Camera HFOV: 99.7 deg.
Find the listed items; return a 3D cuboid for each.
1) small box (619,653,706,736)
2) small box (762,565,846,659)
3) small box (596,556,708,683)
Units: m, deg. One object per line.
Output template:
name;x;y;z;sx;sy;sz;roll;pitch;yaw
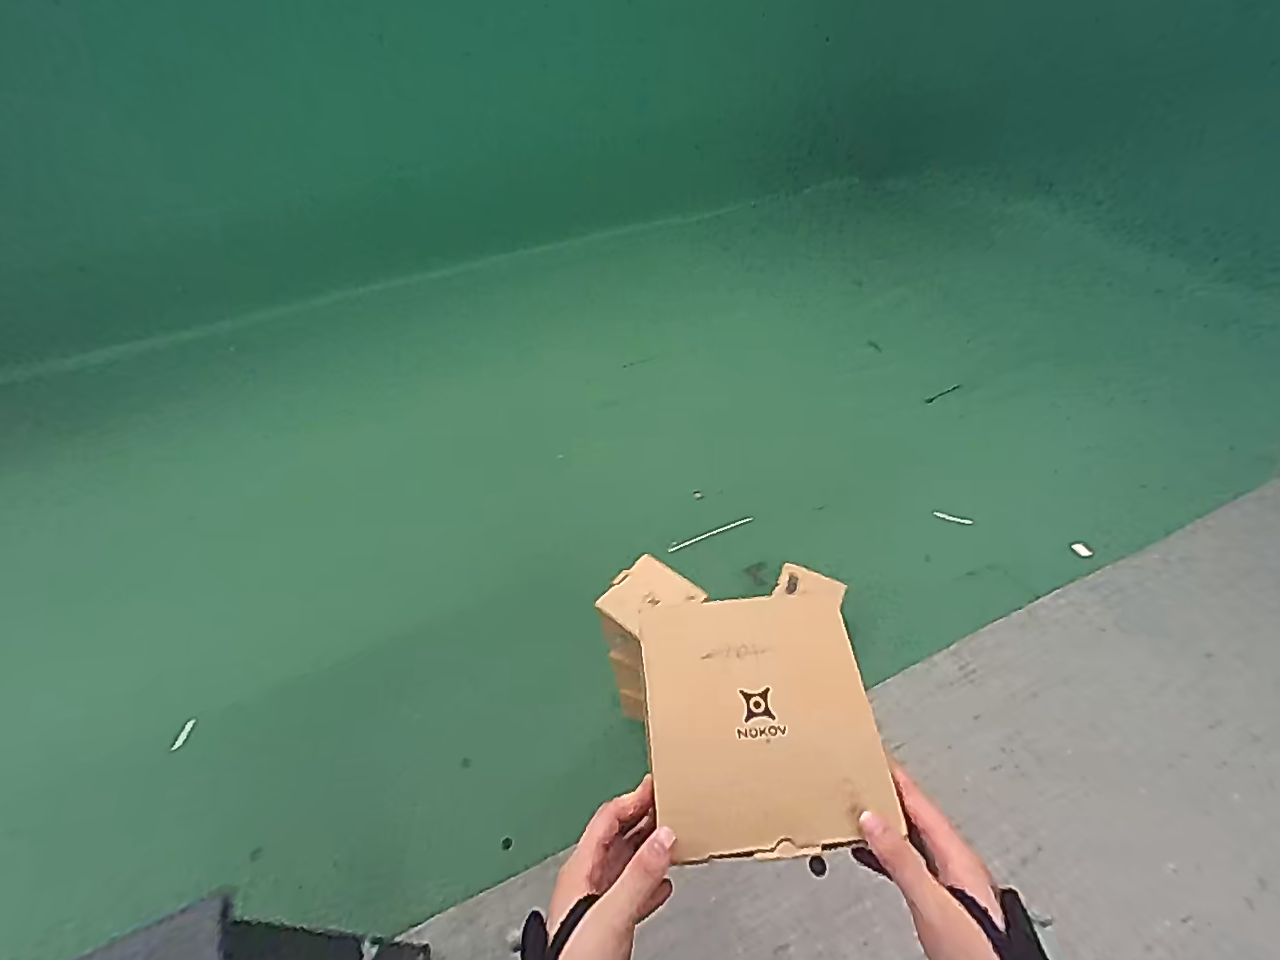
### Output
small box;0.063;0.541;1.408;0.179;0.176;0.168;14;50;17
small box;0.459;0.375;1.529;0.179;0.176;0.168;20;51;20
small box;0.029;0.307;1.178;0.179;0.176;0.168;31;56;29
